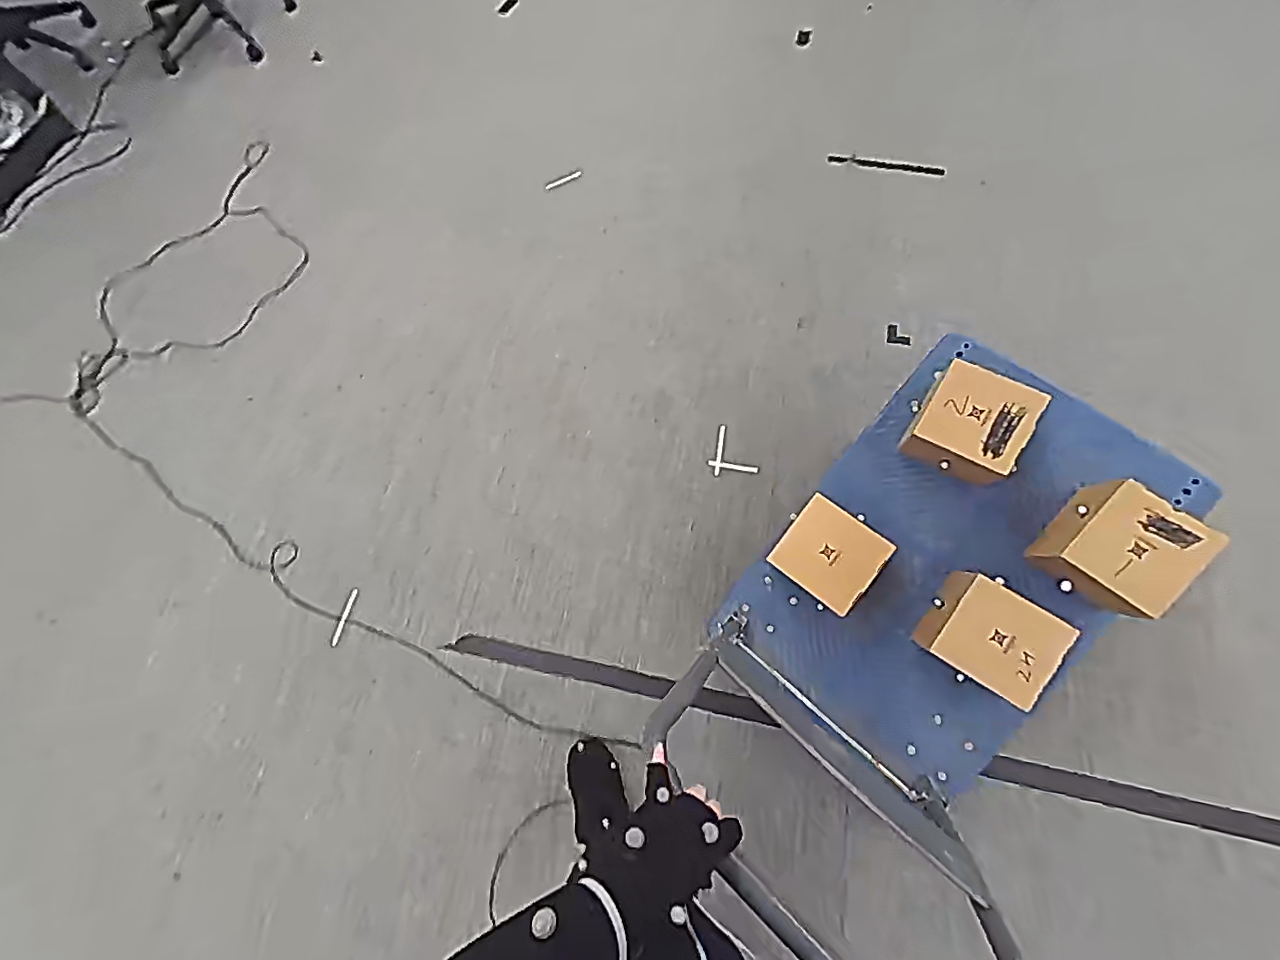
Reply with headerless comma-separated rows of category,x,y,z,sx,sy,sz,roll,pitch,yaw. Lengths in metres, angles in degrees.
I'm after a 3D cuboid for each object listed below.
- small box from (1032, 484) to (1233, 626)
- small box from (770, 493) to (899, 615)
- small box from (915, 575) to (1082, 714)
small box,0.854,0.131,0.964,0.168,0.176,0.179,41,94,18
small box,0.381,0.150,1.092,0.179,0.176,0.168,38,92,16
small box,0.642,0.293,0.997,0.179,0.176,0.168,34,92,18
